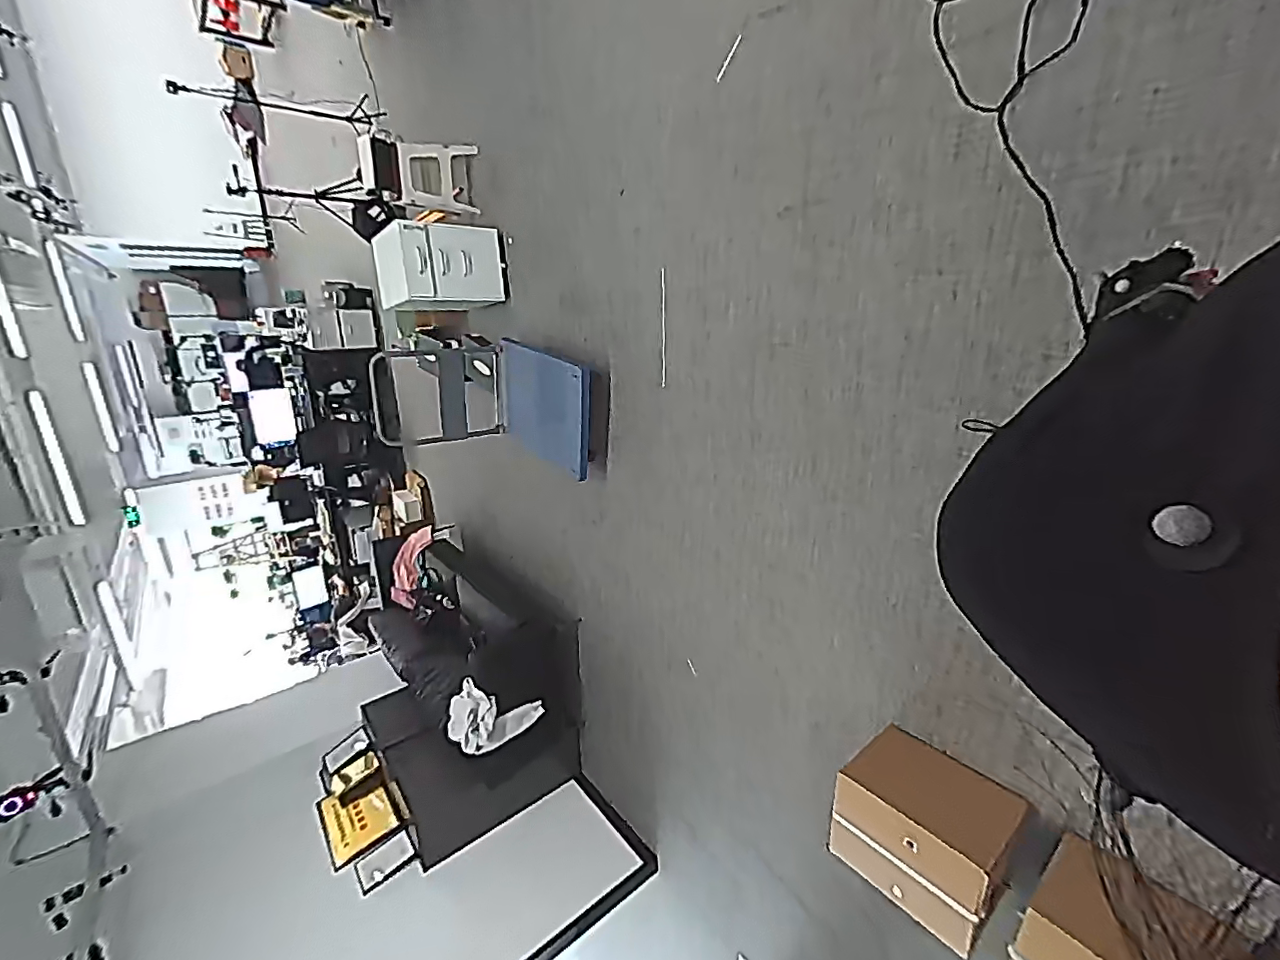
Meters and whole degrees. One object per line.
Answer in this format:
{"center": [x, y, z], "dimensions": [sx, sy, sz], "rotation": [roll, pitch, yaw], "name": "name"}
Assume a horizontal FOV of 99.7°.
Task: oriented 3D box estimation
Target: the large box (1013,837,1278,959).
{"center": [1.124, 1.145, 1.228], "dimensions": [0.408, 0.320, 0.320], "rotation": [21, 117, 45], "name": "large box"}
